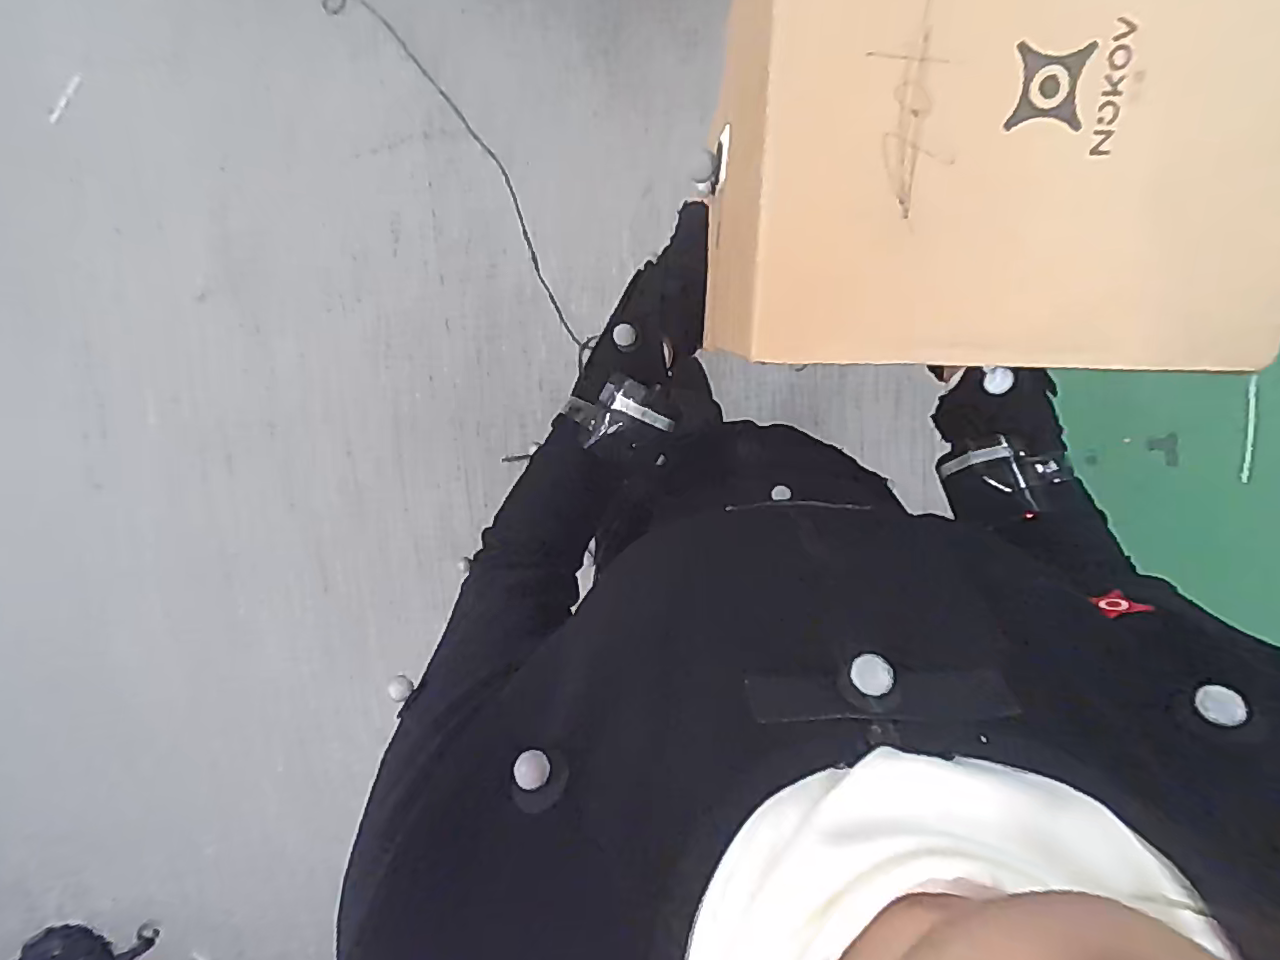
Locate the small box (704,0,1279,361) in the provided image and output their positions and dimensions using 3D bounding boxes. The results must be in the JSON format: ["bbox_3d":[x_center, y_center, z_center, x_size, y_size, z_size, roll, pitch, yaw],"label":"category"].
[{"bbox_3d":[0.125,-0.145,0.245,0.179,0.176,0.168,2,106,3],"label":"small box"}]
